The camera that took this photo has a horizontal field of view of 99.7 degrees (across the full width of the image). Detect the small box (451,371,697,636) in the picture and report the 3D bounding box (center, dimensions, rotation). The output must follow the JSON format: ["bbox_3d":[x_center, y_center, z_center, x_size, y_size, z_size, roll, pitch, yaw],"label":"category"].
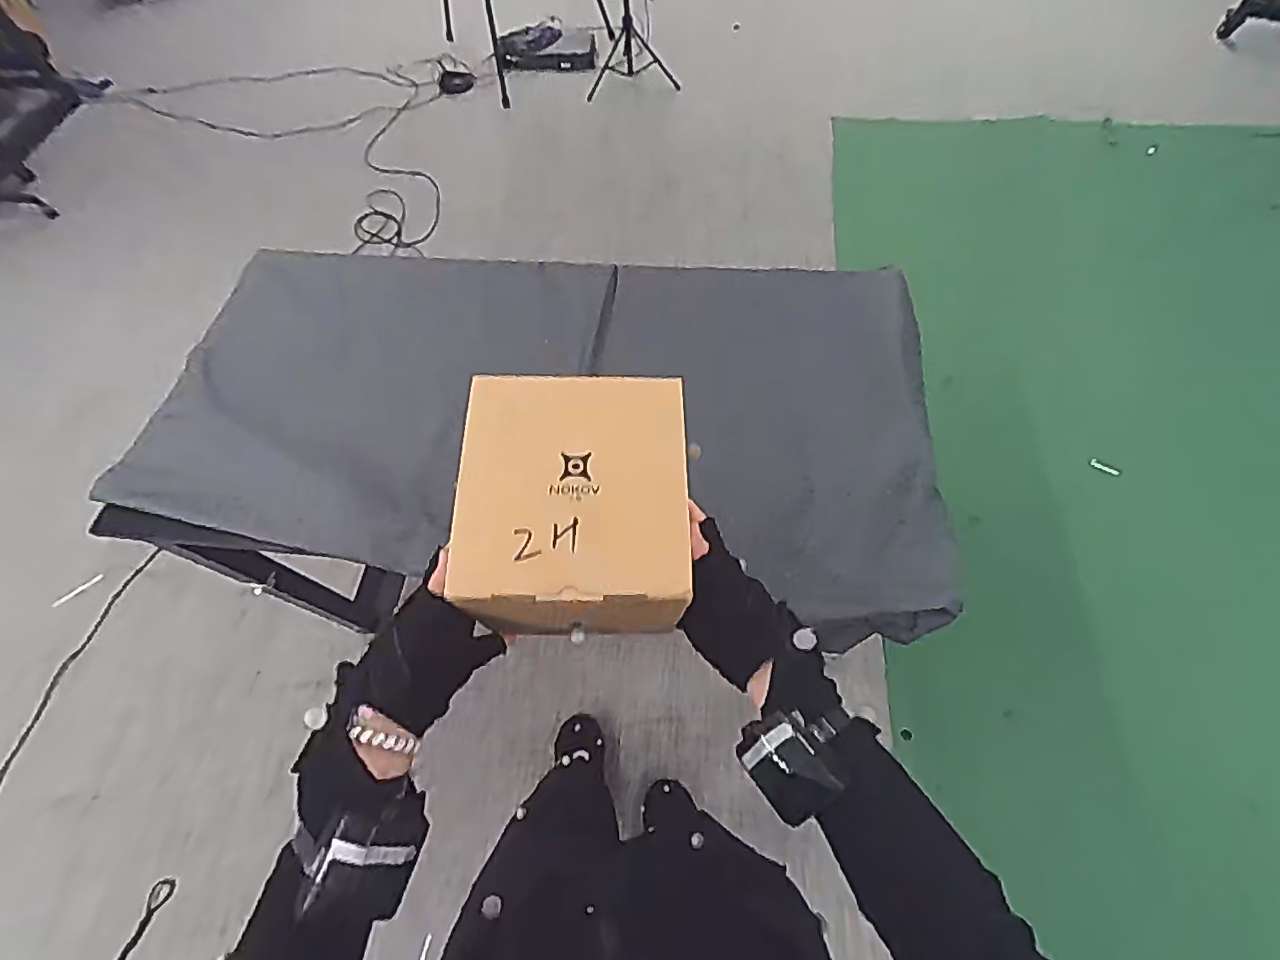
[{"bbox_3d":[-0.047,0.029,0.464,0.168,0.176,0.179,1,65,-2],"label":"small box"}]
